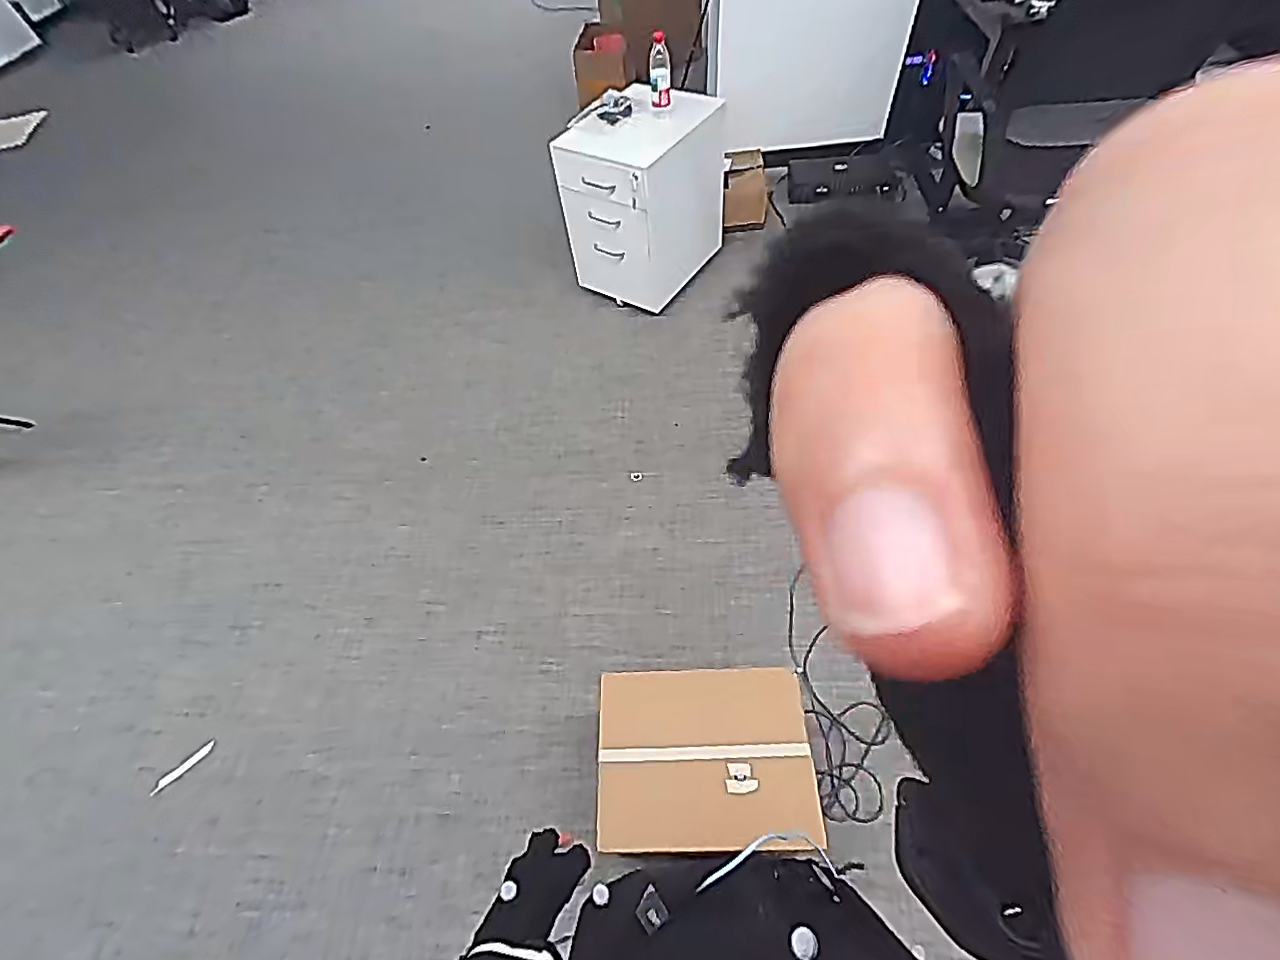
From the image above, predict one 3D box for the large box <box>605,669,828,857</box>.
[{"bbox_3d":[0.142,0.614,1.161,0.408,0.320,0.320,-3,55,4],"label":"large box"}]
